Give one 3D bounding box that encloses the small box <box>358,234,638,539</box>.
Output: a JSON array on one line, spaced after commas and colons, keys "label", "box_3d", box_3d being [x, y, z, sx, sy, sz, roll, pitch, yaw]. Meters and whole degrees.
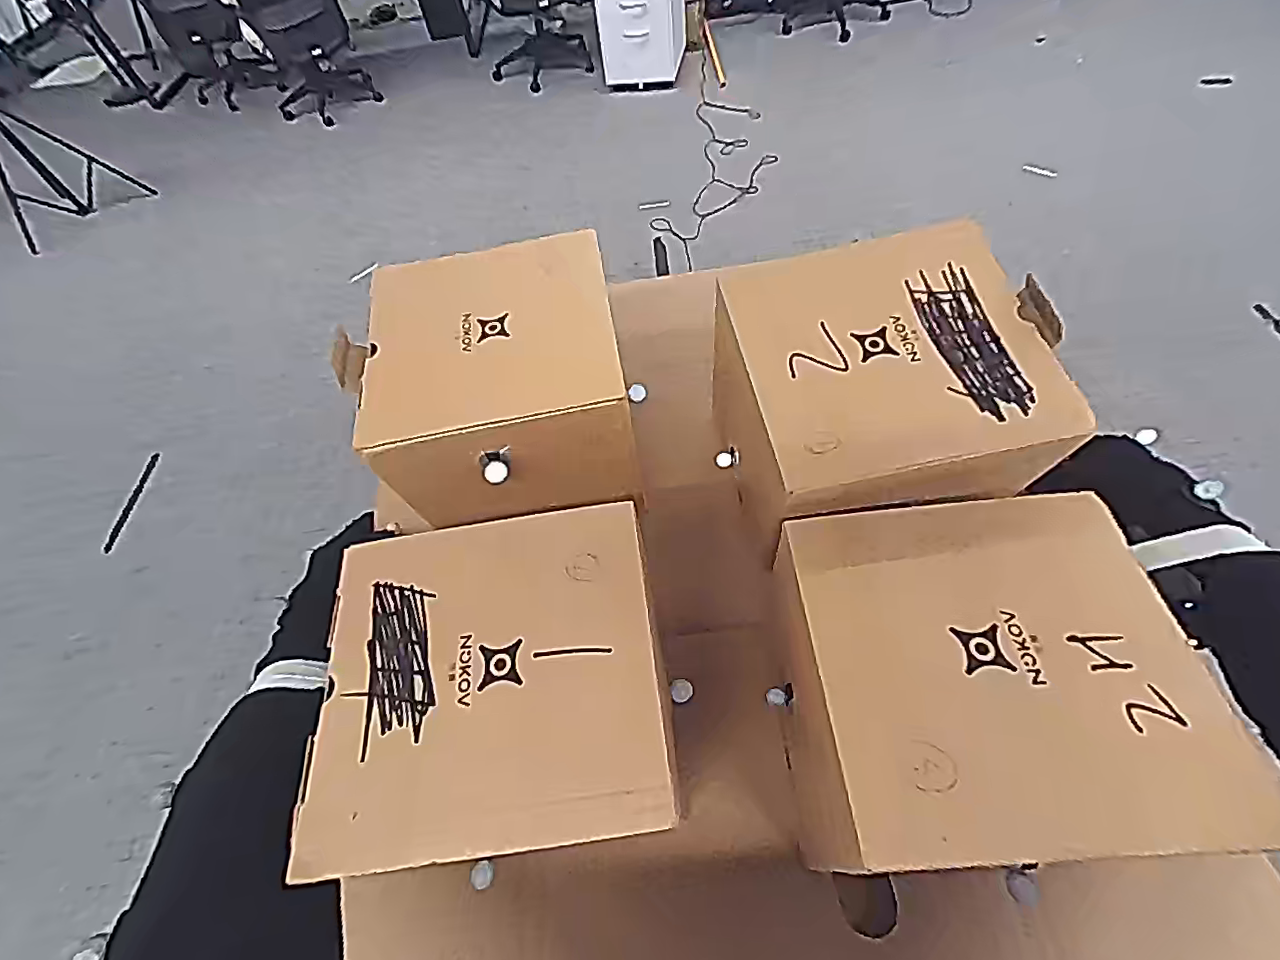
[{"label": "small box", "box_3d": [-0.100, -0.067, 0.453, 0.179, 0.176, 0.168, -12, 61, 2]}]
